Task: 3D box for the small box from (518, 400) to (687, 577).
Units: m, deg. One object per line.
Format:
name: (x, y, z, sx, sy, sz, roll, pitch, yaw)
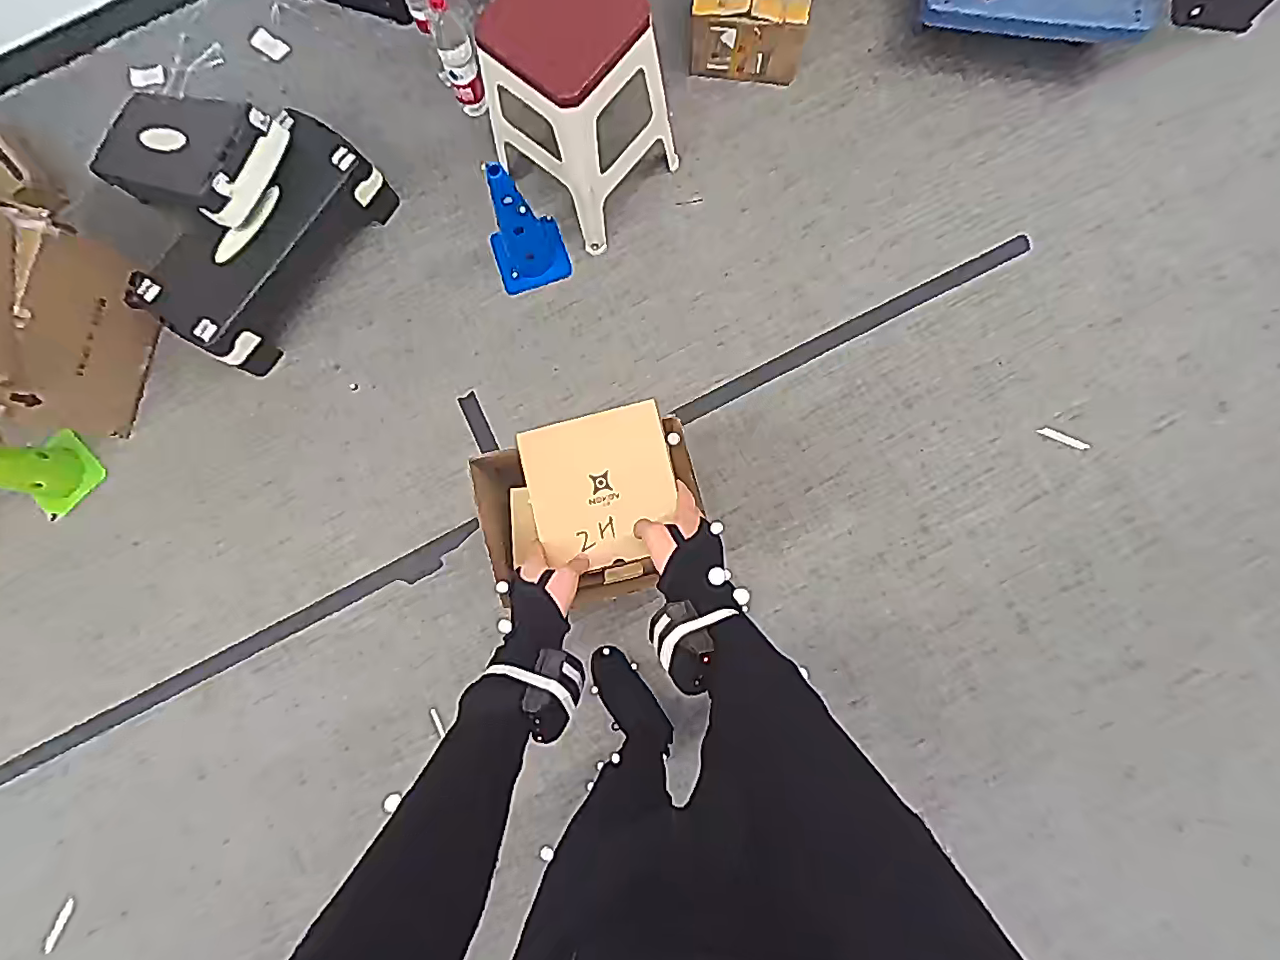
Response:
small box: (-0.039, 0.015, 0.687, 0.168, 0.176, 0.179, -13, 86, 4)
